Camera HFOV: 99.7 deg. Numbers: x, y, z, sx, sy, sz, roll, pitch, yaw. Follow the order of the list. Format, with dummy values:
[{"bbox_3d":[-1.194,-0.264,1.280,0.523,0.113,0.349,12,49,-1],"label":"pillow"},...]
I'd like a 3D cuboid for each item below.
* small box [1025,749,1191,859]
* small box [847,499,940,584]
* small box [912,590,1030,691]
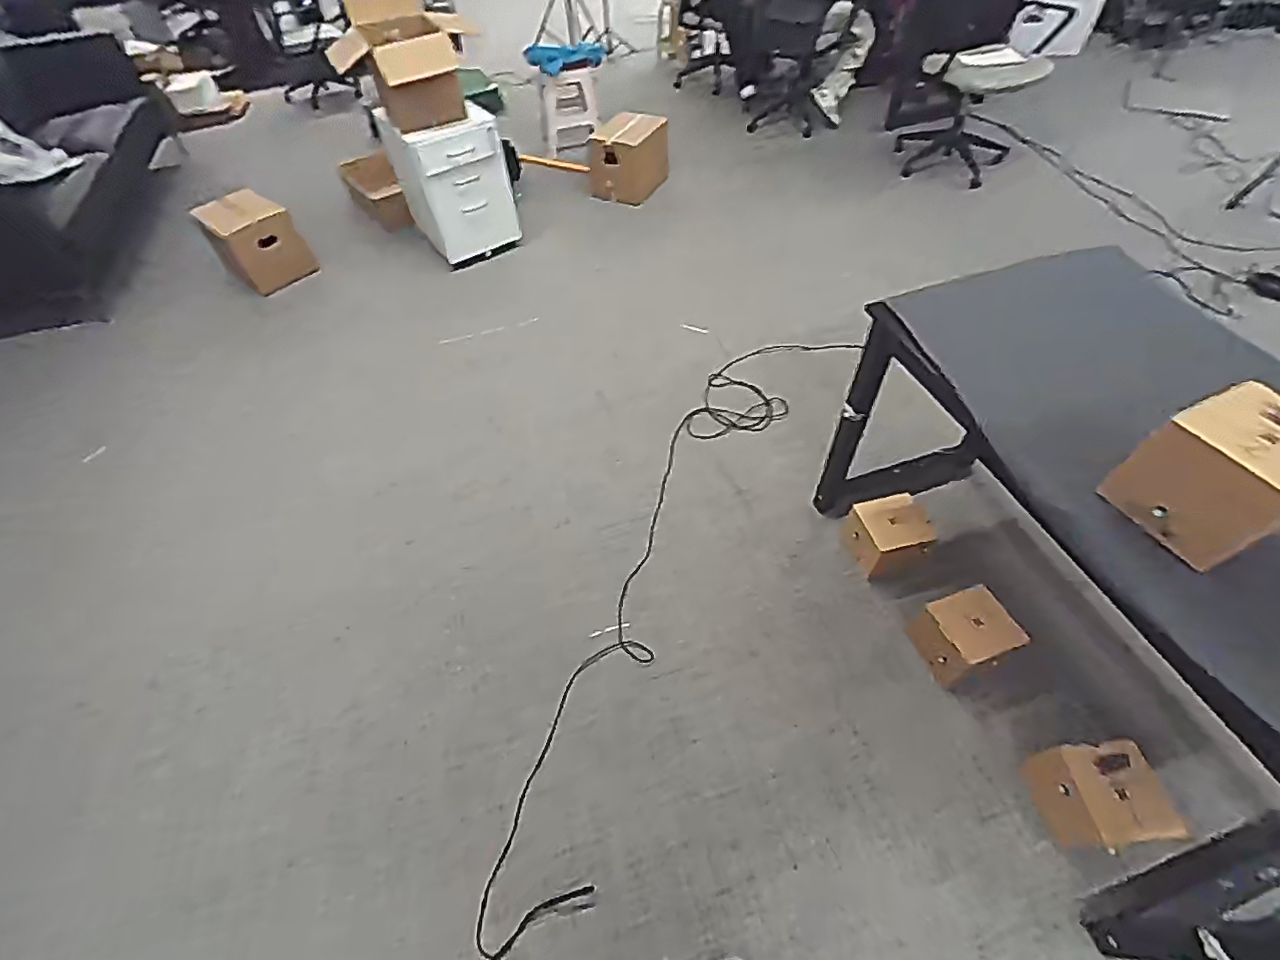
[{"bbox_3d":[0.970,0.688,1.145,0.168,0.176,0.179,-5,53,0],"label":"small box"},{"bbox_3d":[0.723,0.182,1.571,0.179,0.176,0.168,-11,51,-6],"label":"small box"},{"bbox_3d":[0.826,0.412,1.376,0.179,0.176,0.168,-16,53,-10],"label":"small box"}]
